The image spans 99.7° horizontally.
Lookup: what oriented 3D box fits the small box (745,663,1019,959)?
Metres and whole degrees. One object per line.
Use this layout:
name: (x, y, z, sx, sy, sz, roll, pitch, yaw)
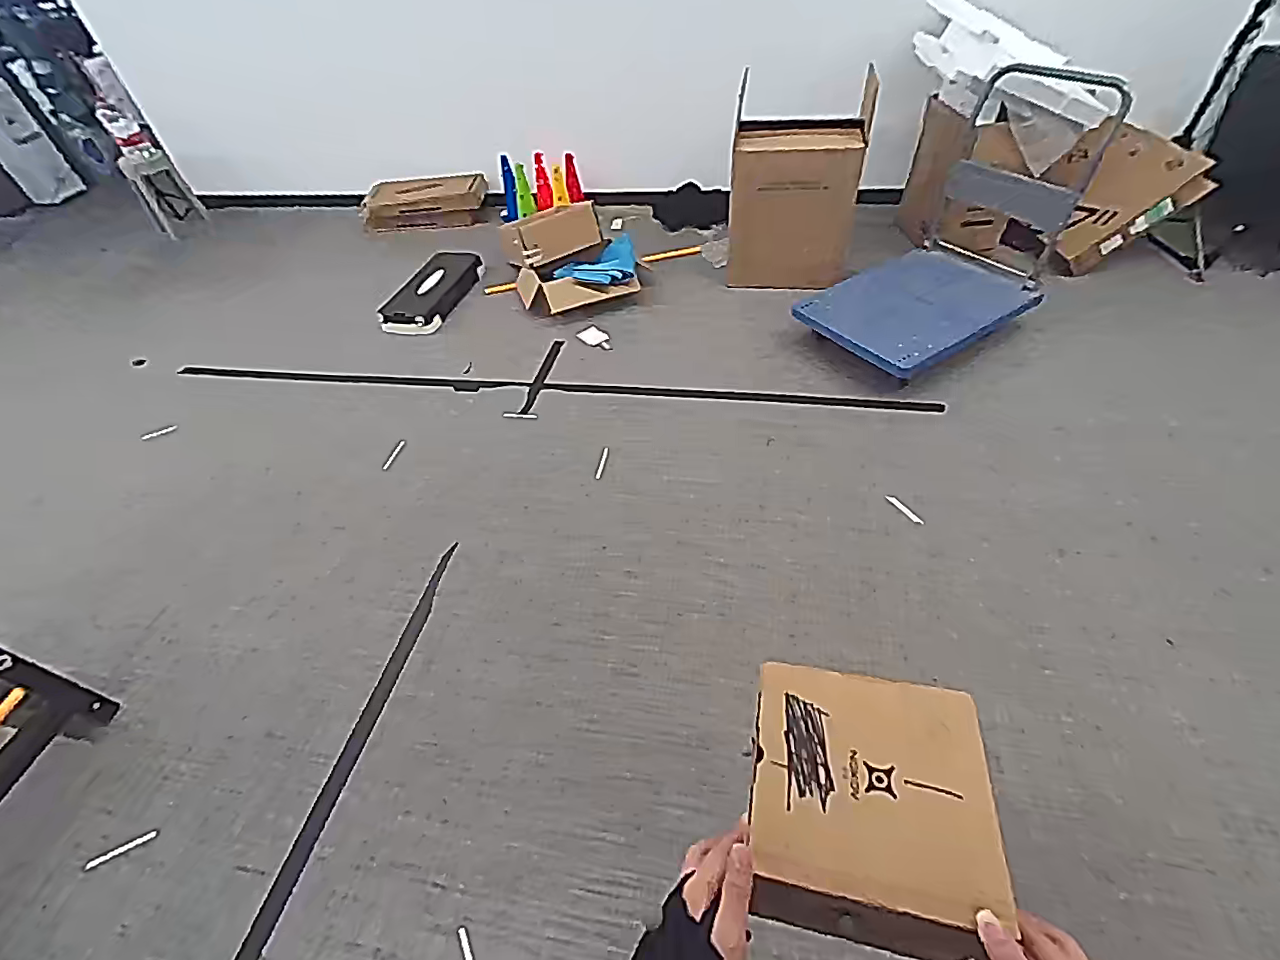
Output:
small box: (0.186, 0.287, 0.473, 0.179, 0.176, 0.168, 5, 45, 14)
